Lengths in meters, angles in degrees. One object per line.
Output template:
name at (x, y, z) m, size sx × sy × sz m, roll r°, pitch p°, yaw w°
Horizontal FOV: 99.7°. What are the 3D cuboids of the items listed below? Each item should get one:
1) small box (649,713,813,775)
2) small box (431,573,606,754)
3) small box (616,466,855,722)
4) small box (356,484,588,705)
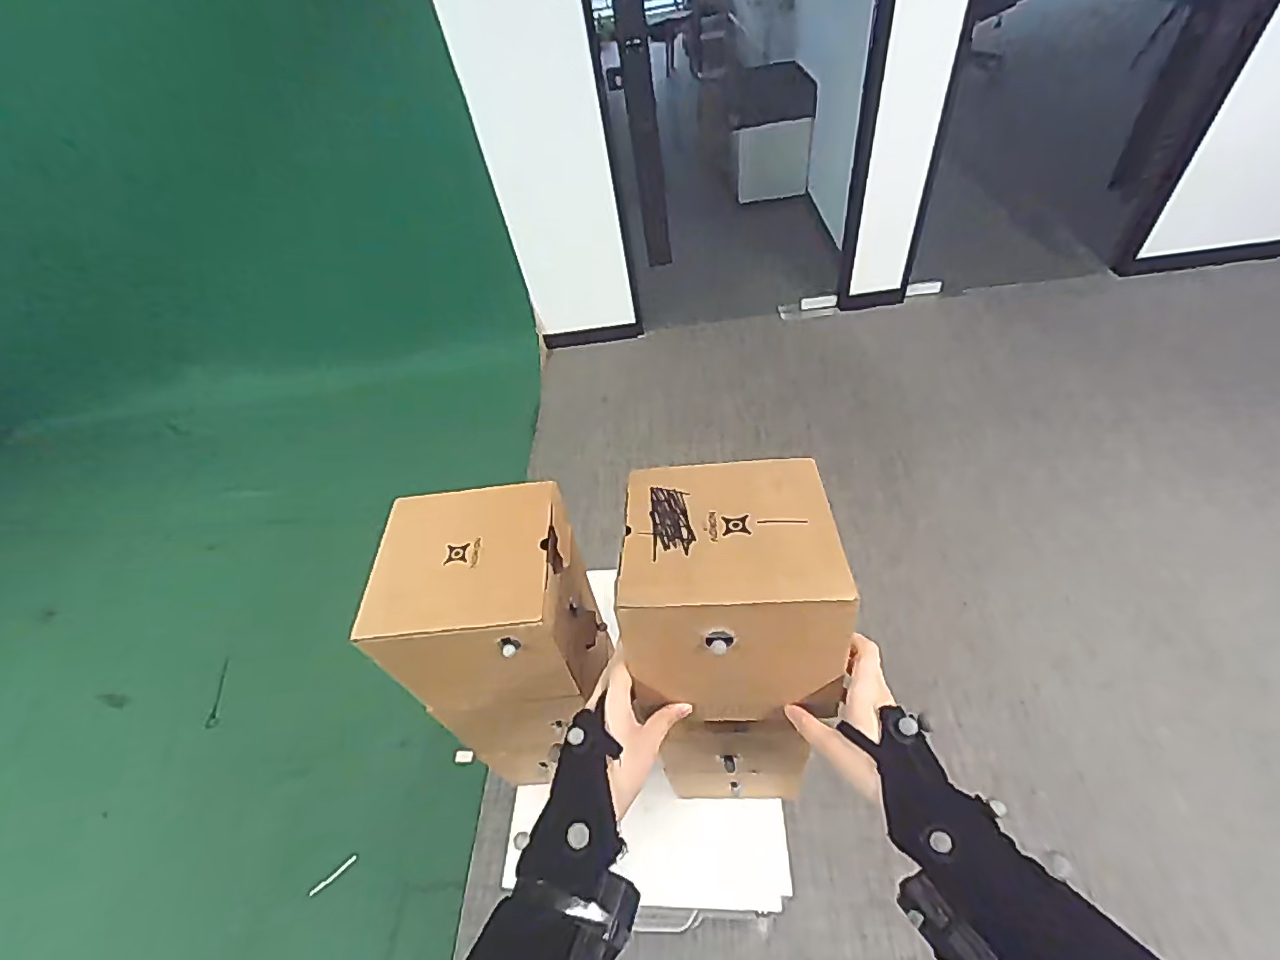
small box at (0.105, 0.241, 0.647) m, size 0.168 × 0.176 × 0.179 m, roll -4°, pitch 48°, yaw 7°
small box at (-0.138, 0.238, 0.698) m, size 0.179 × 0.176 × 0.168 m, roll -8°, pitch 47°, yaw 3°
small box at (0.083, 0.106, 0.500) m, size 0.179 × 0.176 × 0.168 m, roll -3°, pitch 39°, yaw 7°
small box at (-0.159, 0.127, 0.580) m, size 0.179 × 0.176 × 0.168 m, roll -6°, pitch 48°, yaw 2°
